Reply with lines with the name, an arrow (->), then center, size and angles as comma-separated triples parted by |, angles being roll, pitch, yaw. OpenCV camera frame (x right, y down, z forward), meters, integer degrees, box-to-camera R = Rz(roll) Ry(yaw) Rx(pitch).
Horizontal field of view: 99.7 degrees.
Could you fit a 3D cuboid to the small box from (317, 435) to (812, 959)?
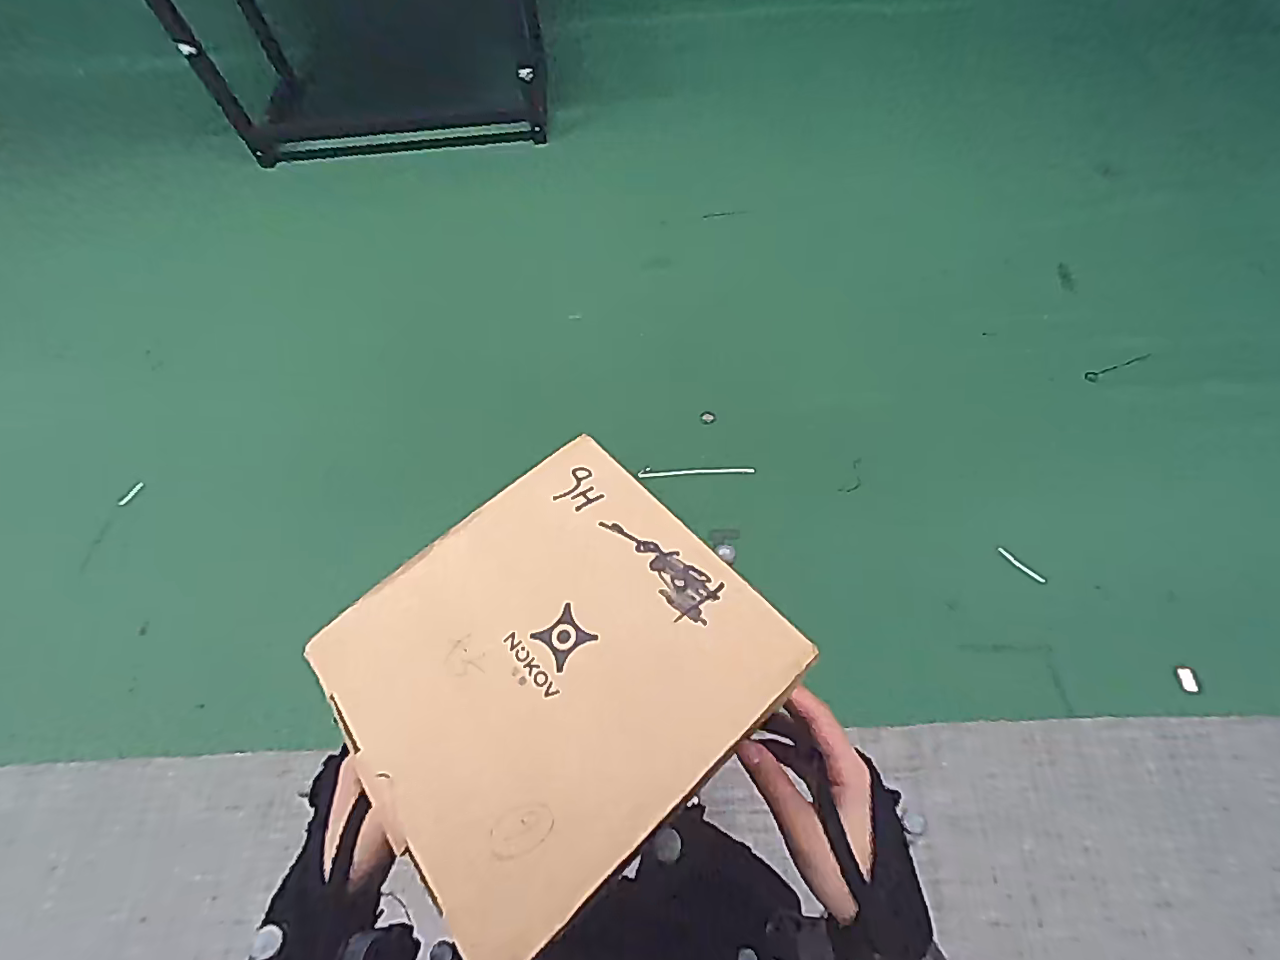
small box -> -0.030, 0.115, 0.312 | 0.179, 0.176, 0.168 | -39, 62, -15
